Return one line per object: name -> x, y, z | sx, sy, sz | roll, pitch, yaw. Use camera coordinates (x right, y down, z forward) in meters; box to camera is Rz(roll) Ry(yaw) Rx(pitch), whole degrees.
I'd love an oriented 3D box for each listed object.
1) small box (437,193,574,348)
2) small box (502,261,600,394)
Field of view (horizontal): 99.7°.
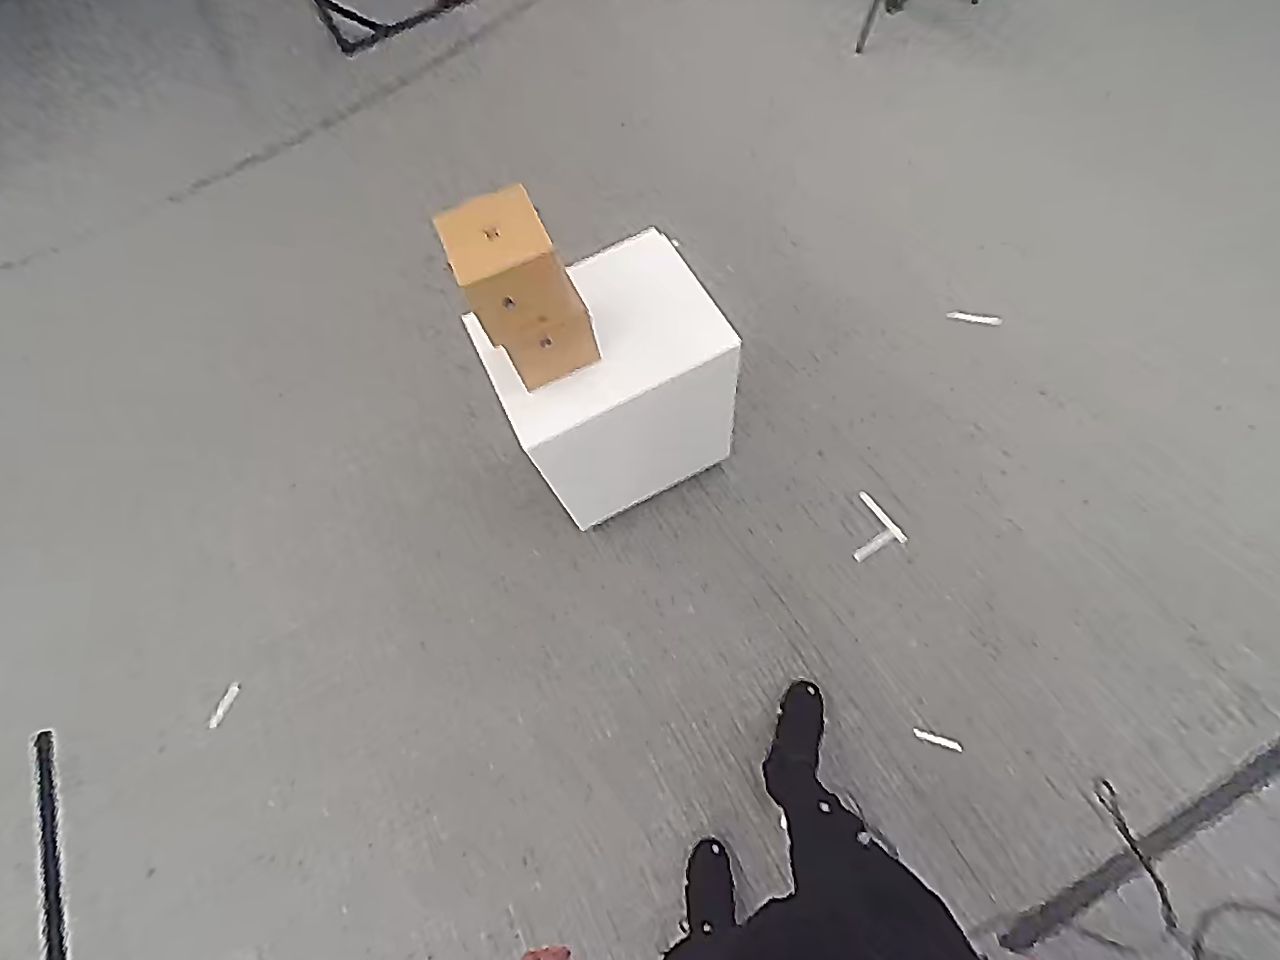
small box -> -0.234, -0.364, 0.973 | 0.168, 0.176, 0.179 | -24, 66, -4
small box -> -0.200, -0.308, 1.123 | 0.179, 0.176, 0.168 | -26, 66, -5
